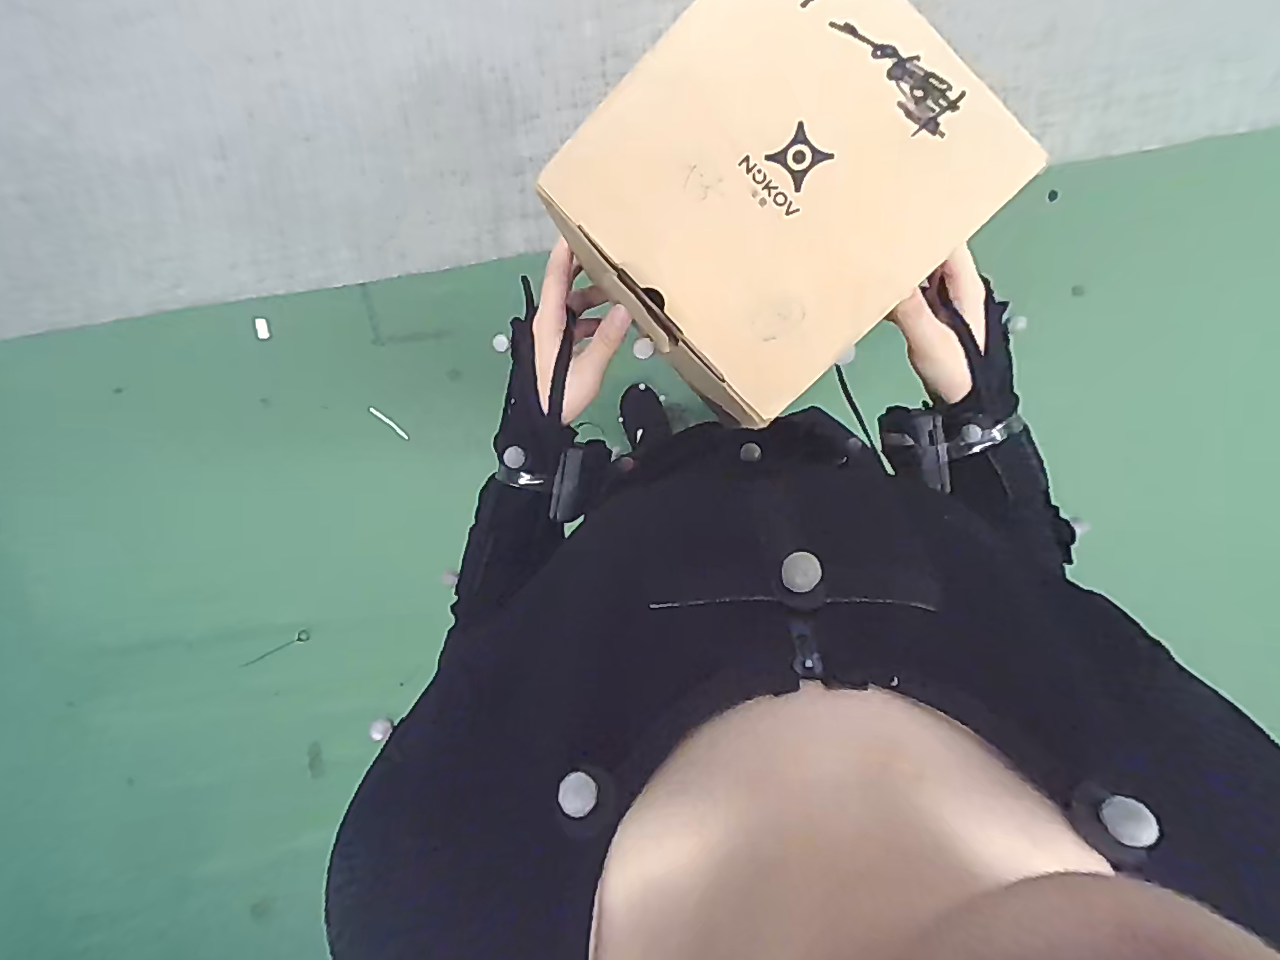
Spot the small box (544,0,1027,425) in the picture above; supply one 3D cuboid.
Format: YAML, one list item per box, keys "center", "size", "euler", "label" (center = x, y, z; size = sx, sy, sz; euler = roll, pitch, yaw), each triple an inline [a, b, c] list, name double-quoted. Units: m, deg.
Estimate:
- center: [0.074, -0.150, 0.342]
  size: [0.179, 0.176, 0.168]
  euler: [-43, 91, 7]
  label: "small box"
